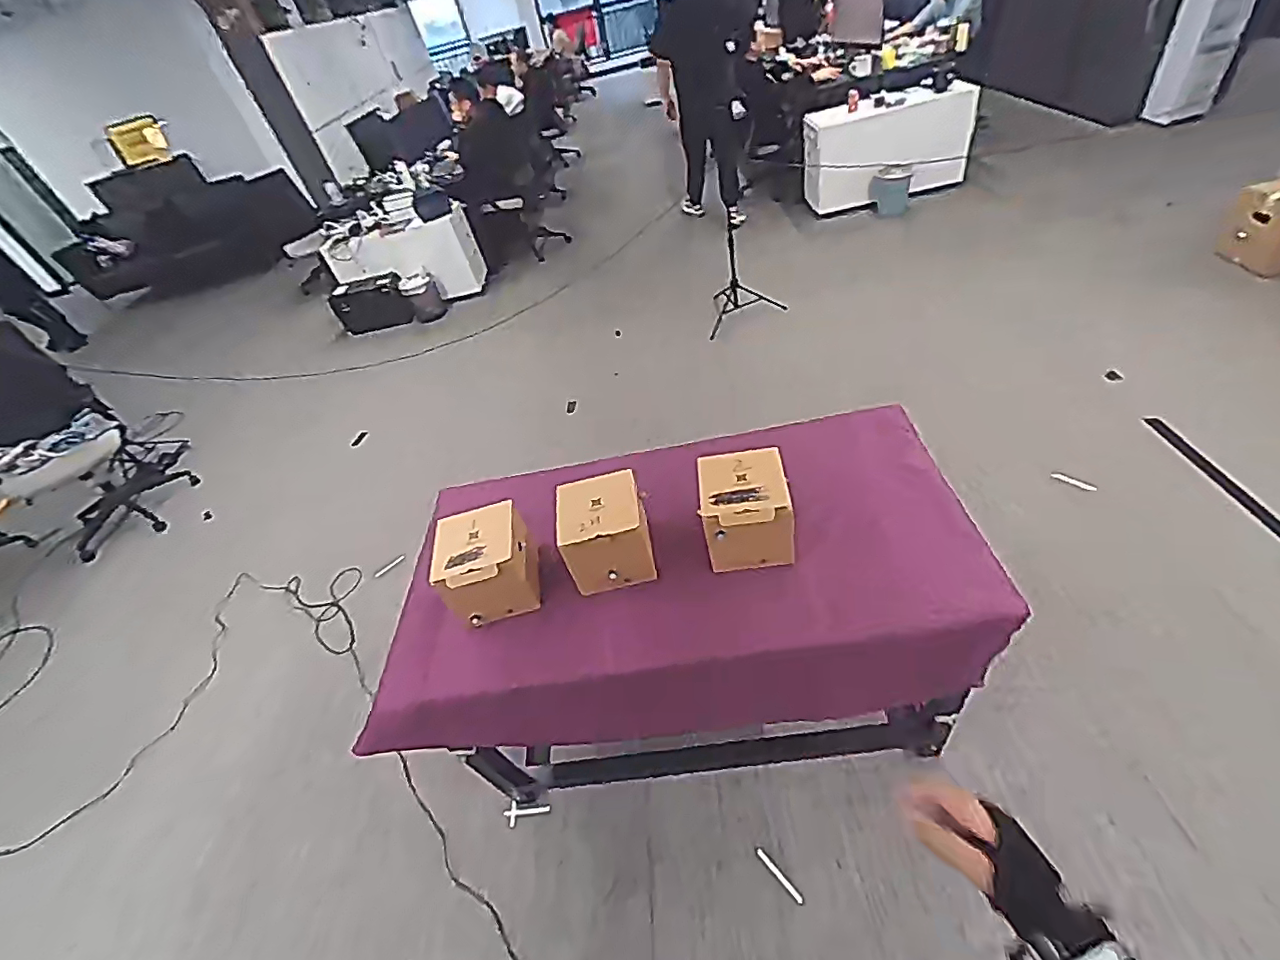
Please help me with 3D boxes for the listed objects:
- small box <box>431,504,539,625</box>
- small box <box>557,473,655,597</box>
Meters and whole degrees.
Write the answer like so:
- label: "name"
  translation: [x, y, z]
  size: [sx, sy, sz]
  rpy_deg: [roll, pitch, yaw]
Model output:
- label: "small box"
  translation: [-0.319, 0.186, 1.144]
  size: [0.168, 0.176, 0.179]
  rpy_deg: [-16, 42, 0]
- label: "small box"
  translation: [-0.071, 0.117, 1.139]
  size: [0.168, 0.176, 0.179]
  rpy_deg: [-14, 43, 4]
